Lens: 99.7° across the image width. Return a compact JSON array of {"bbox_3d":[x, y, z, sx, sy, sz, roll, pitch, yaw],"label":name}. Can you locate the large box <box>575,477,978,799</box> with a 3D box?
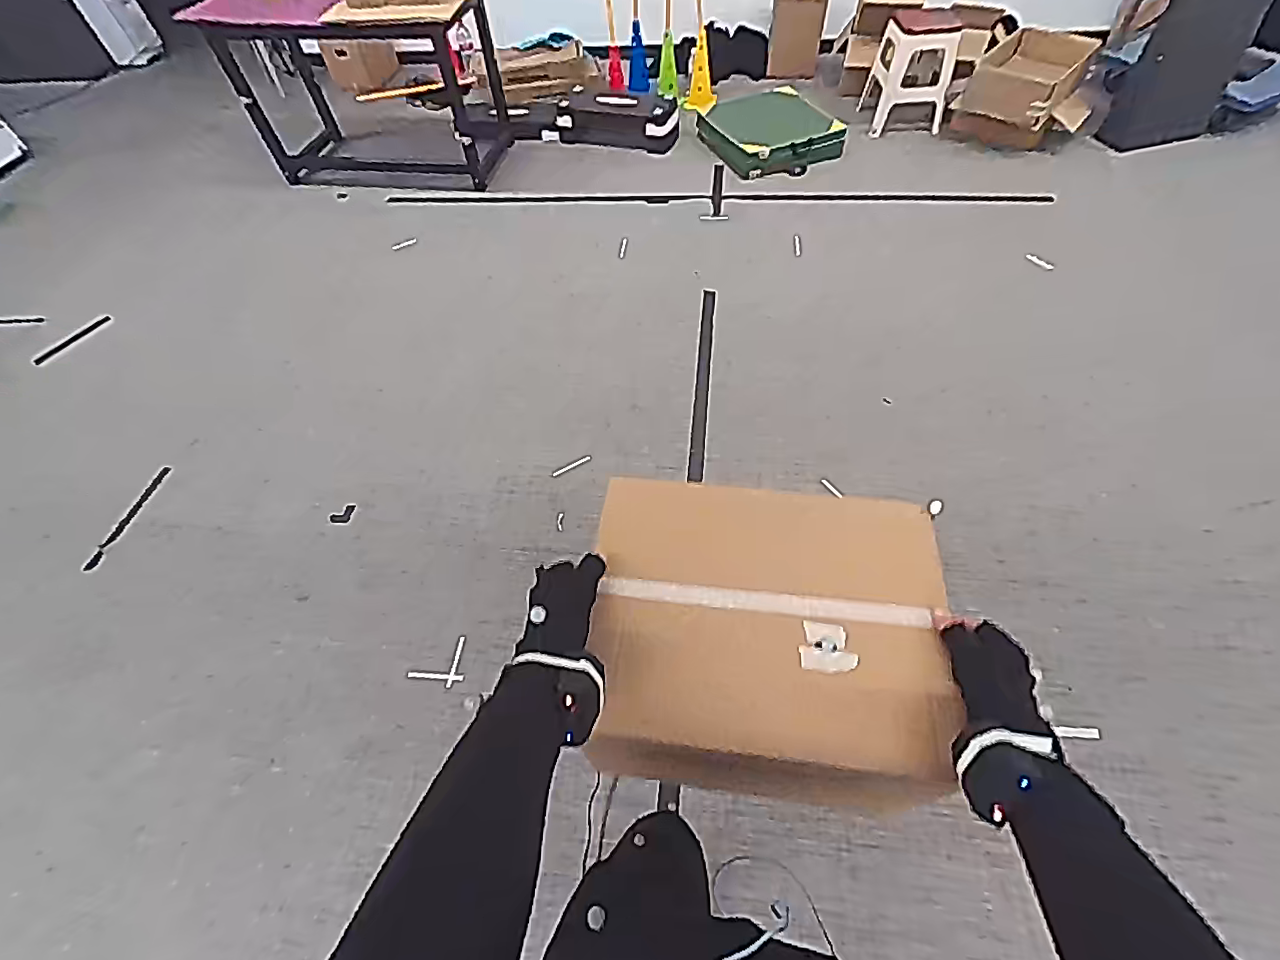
[{"bbox_3d":[0.152,0.220,0.740,0.408,0.320,0.320,5,56,7],"label":"large box"}]
